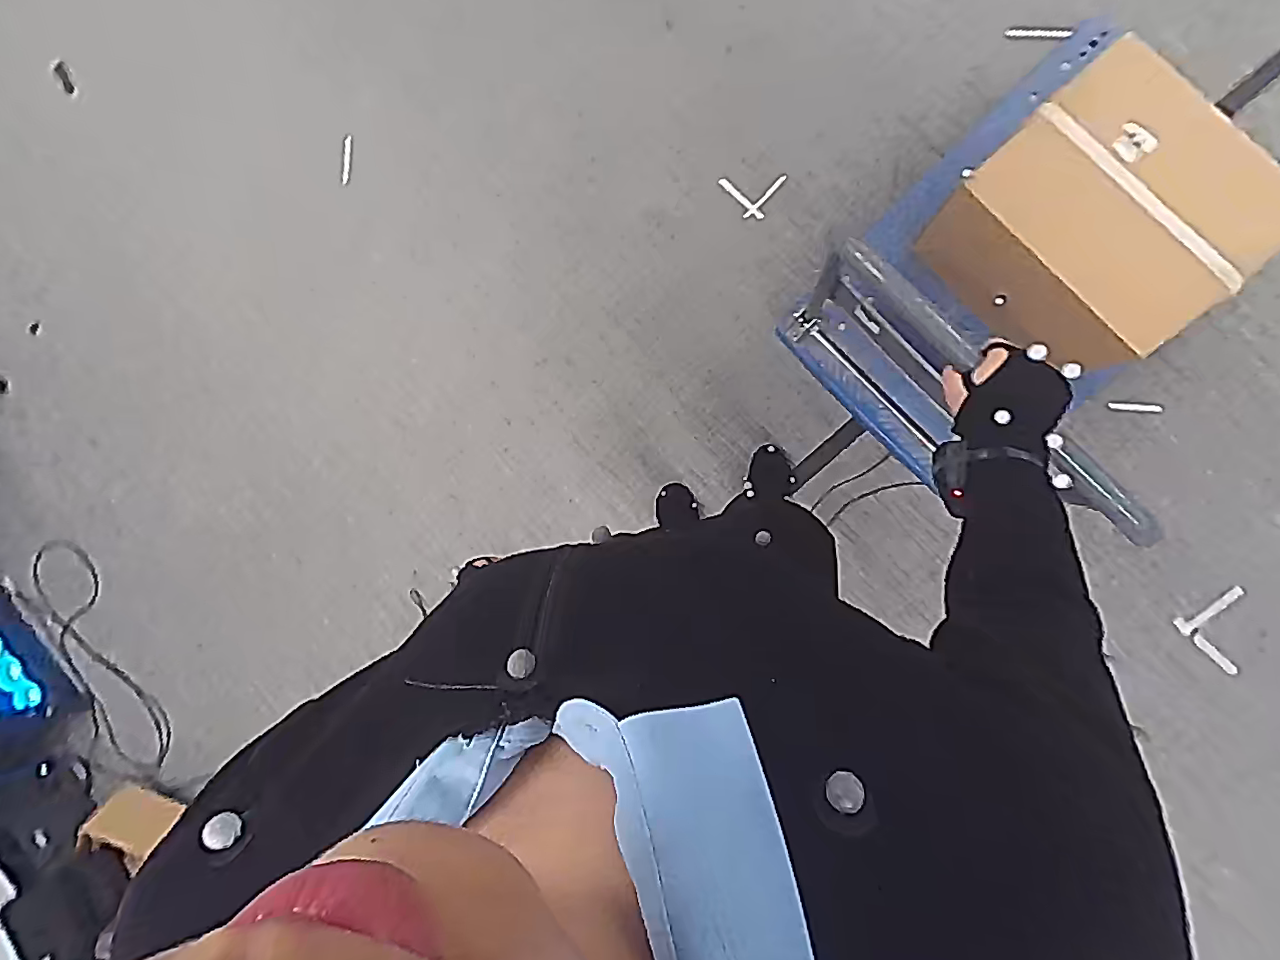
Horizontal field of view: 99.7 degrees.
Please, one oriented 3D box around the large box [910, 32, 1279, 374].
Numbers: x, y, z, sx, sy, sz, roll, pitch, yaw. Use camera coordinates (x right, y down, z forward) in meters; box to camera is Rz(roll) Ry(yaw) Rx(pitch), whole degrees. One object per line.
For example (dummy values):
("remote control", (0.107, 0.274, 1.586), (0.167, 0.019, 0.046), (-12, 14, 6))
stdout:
("large box", (0.790, -0.455, 0.986), (0.320, 0.320, 0.408), (-43, 84, 10))
